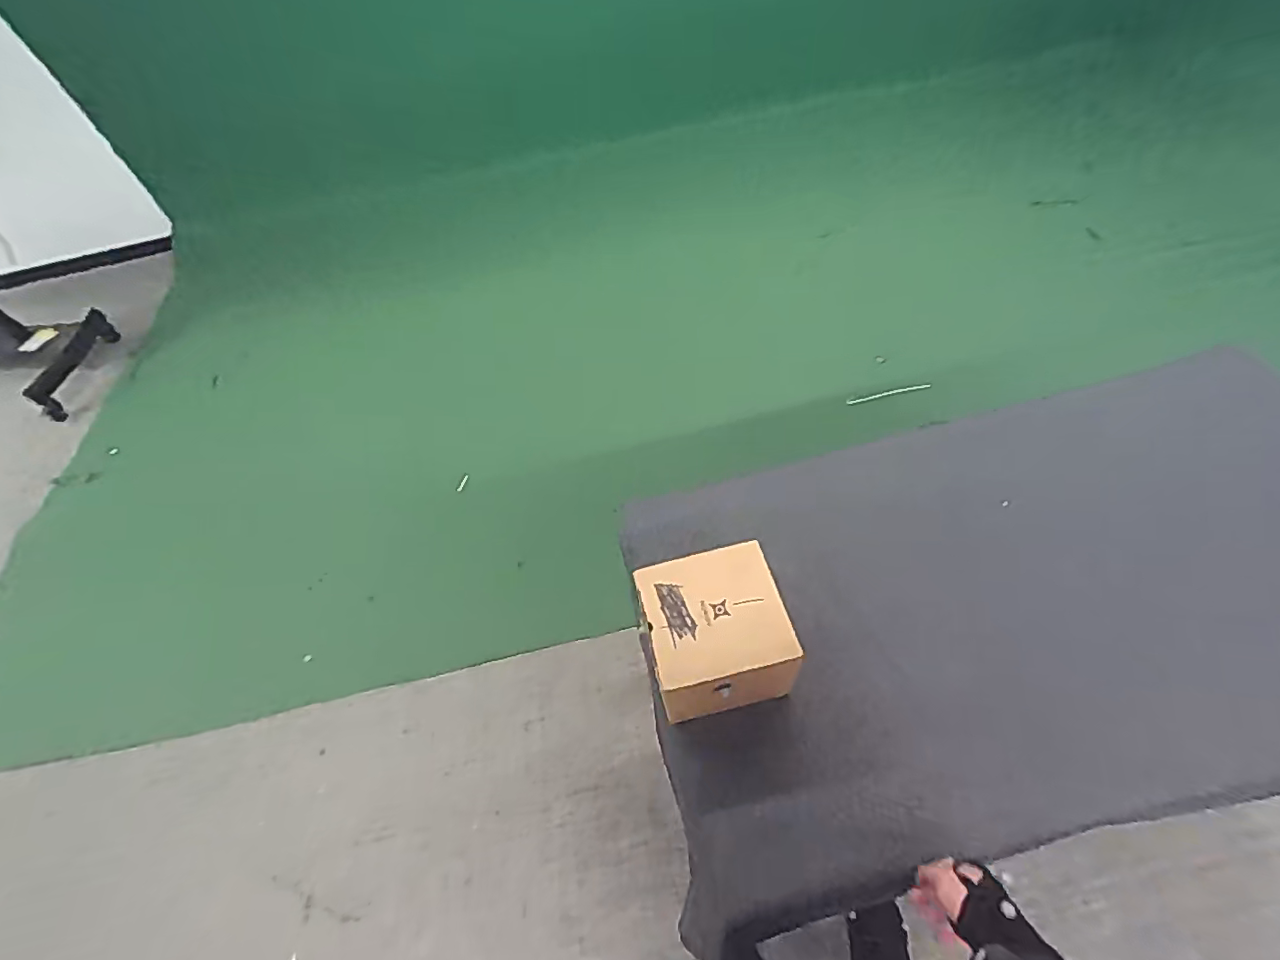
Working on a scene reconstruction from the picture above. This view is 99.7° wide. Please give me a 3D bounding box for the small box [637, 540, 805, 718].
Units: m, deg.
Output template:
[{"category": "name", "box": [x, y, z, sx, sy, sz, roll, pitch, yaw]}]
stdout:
[{"category": "small box", "box": [0.102, 0.208, 0.738, 0.179, 0.176, 0.168, -12, 55, -3]}]
